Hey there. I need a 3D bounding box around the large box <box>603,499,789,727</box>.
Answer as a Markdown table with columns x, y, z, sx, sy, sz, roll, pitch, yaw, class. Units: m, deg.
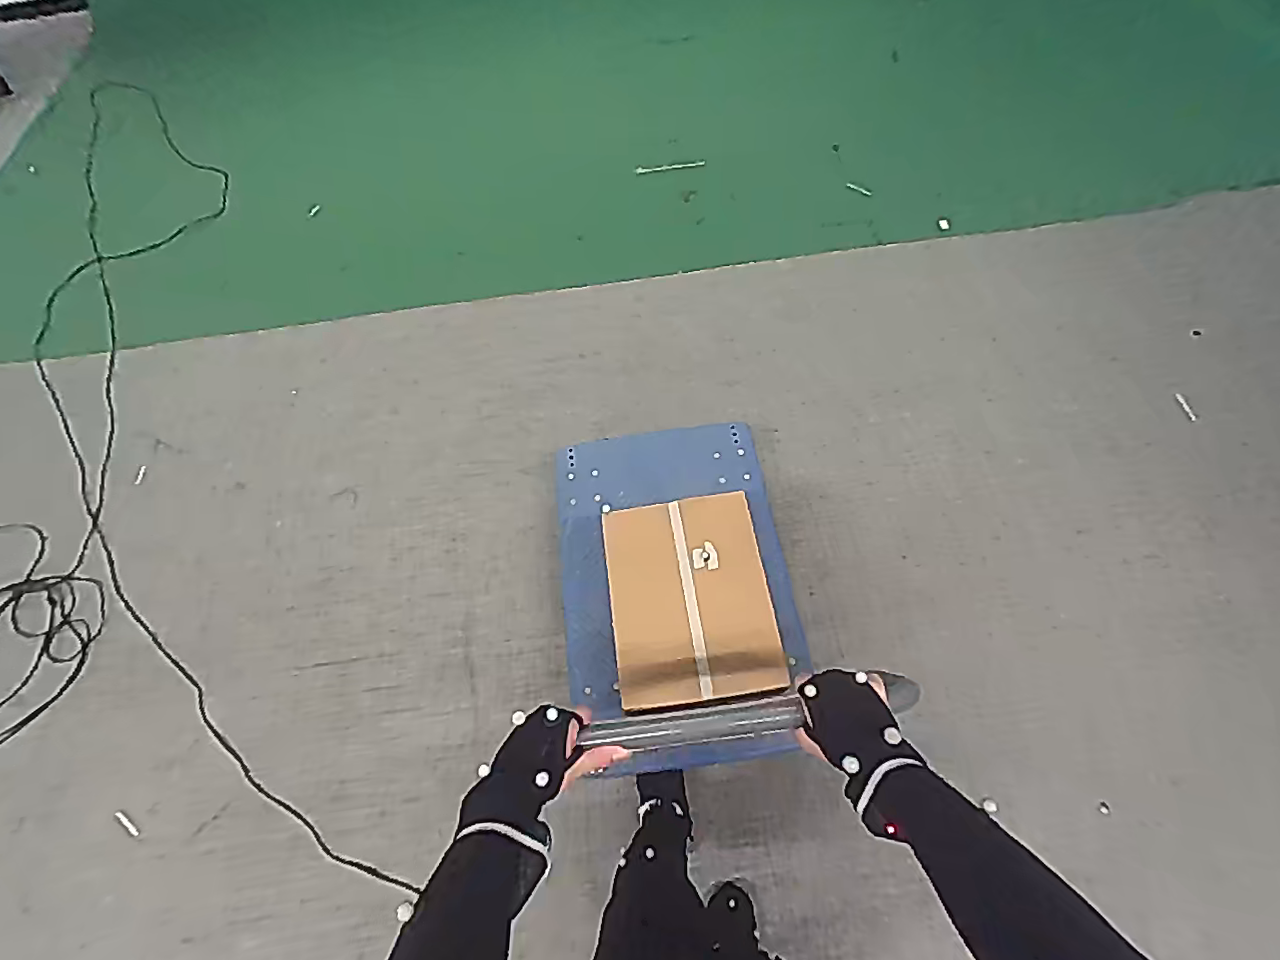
| x | y | z | sx | sy | sz | roll | pitch | yaw | class |
| --- | --- | --- | --- | --- | --- | --- | --- | --- | --- |
| 0.112 | 0.308 | 1.216 | 0.320 | 0.320 | 0.408 | -9 | 61 | 0 | large box |
